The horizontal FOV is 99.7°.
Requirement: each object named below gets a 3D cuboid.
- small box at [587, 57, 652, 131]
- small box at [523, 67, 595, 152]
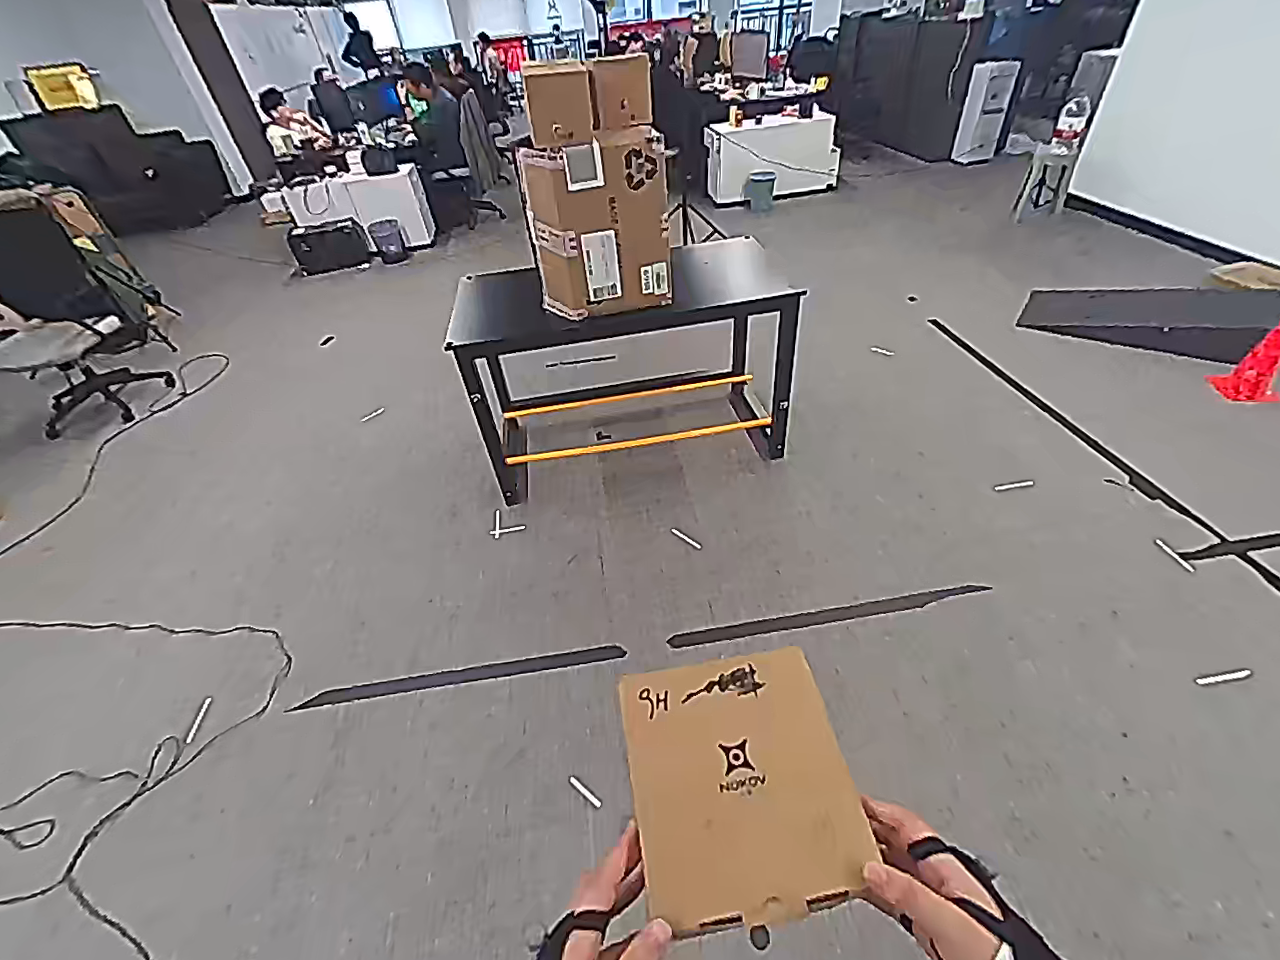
[{"bbox_3d":[-0.064,-1.191,1.669,0.168,0.176,0.179,-12,40,-6],"label":"small box"},{"bbox_3d":[-0.224,-1.023,1.495,0.168,0.176,0.179,-11,44,-7],"label":"small box"}]
